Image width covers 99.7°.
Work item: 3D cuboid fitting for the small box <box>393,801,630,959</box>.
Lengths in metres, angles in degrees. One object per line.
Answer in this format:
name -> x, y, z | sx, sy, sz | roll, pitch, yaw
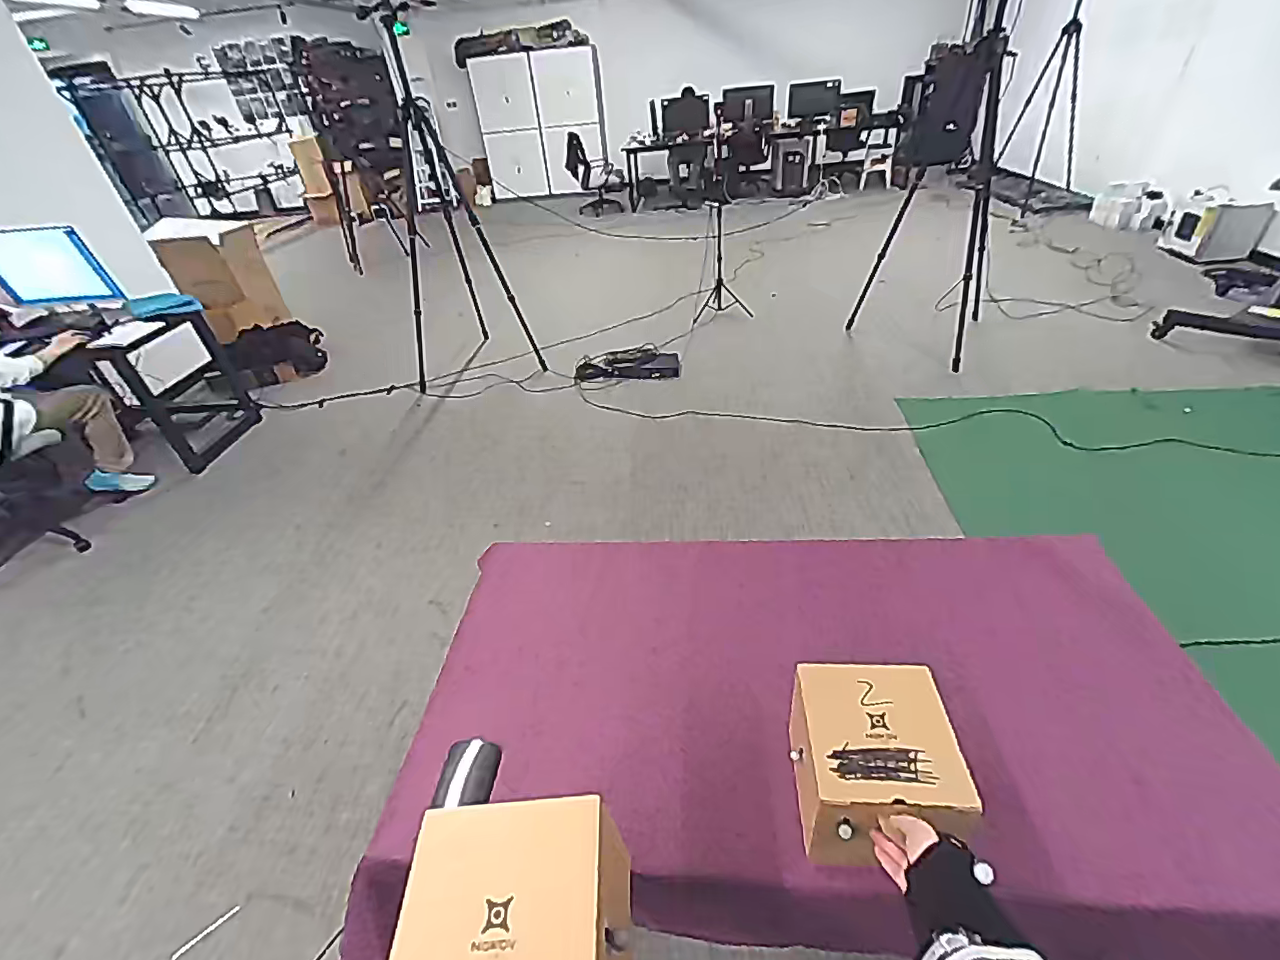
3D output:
small box -> -0.103, 0.417, 0.482 | 0.168, 0.176, 0.179 | -7, 41, 4
